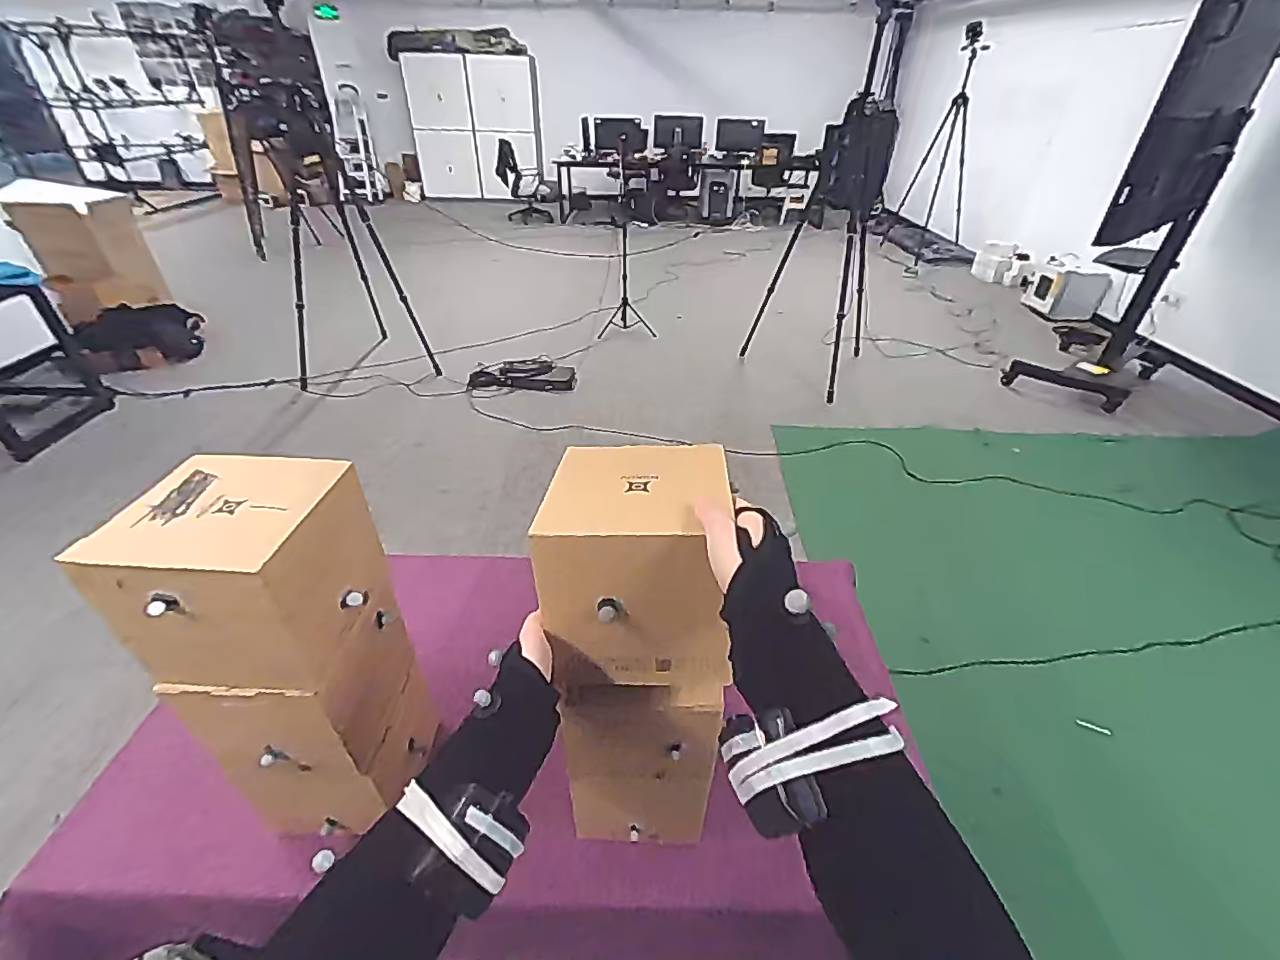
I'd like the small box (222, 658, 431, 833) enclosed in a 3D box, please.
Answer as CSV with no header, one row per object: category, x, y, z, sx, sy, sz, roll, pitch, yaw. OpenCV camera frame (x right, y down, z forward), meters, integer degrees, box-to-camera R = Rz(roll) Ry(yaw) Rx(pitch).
small box,-0.406,0.362,0.744,0.179,0.176,0.168,1,36,-2

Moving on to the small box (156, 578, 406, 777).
small box,-0.402,0.225,0.651,0.168,0.176,0.179,1,36,1

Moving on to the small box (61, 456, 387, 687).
small box,-0.393,0.092,0.555,0.179,0.176,0.168,3,36,1

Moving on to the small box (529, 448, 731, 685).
small box,0.001,0.080,0.533,0.168,0.176,0.179,-1,26,4

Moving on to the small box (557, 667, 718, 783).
small box,0.000,0.239,0.649,0.168,0.176,0.179,2,36,0
